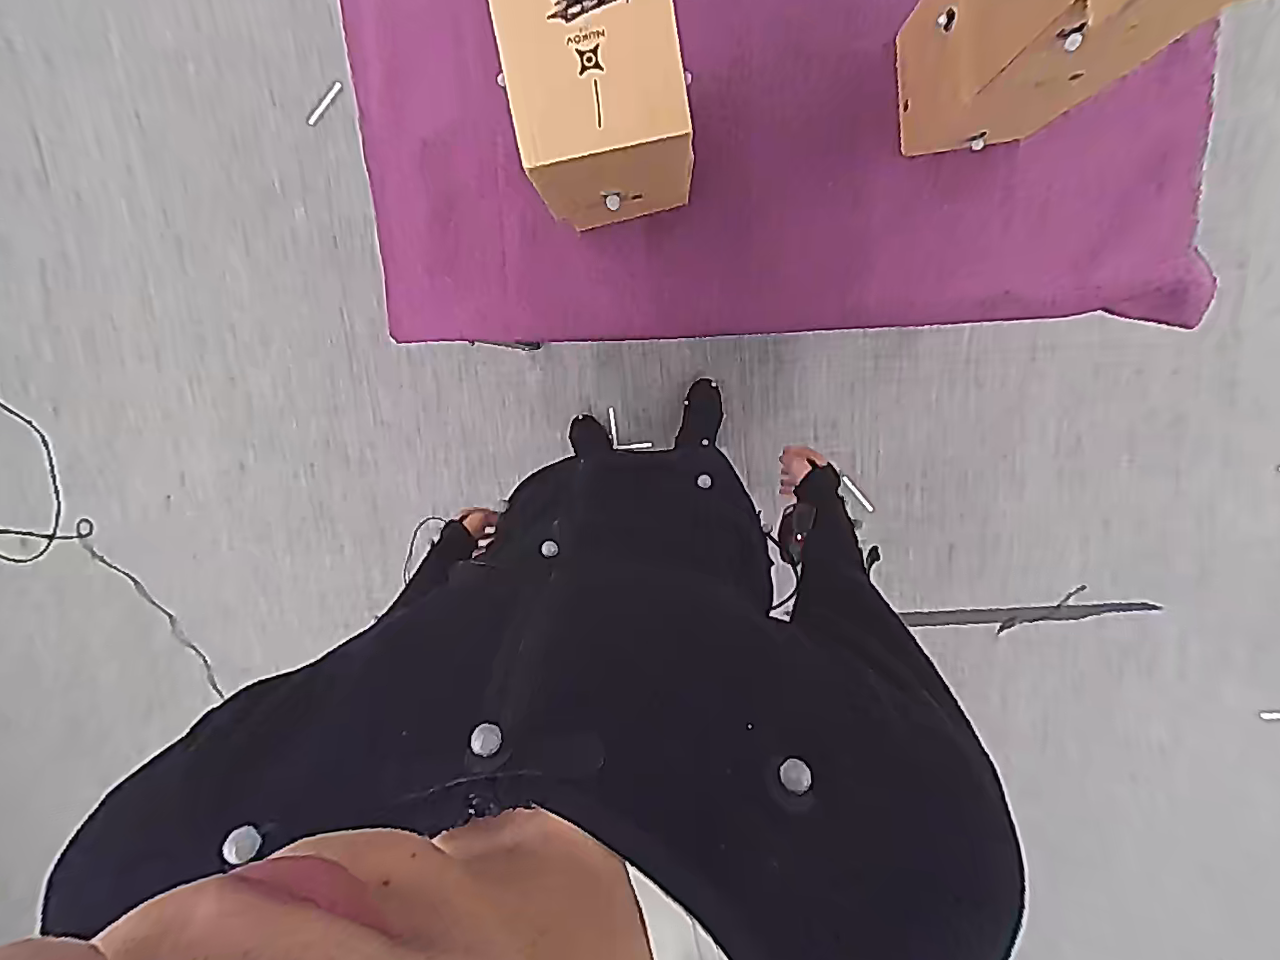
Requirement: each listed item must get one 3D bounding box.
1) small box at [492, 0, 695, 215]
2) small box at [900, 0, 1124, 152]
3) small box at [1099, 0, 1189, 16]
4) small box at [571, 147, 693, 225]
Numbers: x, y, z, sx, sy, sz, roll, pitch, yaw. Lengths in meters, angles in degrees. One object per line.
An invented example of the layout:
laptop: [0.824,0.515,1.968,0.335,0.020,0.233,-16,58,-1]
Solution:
small box: [-0.041,-0.404,0.561,0.168,0.176,0.179,-10,101,4]
small box: [0.455,-0.544,0.683,0.179,0.176,0.168,-7,100,3]
small box: [0.455,-0.466,0.364,0.179,0.176,0.168,-10,100,4]
small box: [-0.032,-0.459,0.718,0.179,0.176,0.168,-12,100,4]
